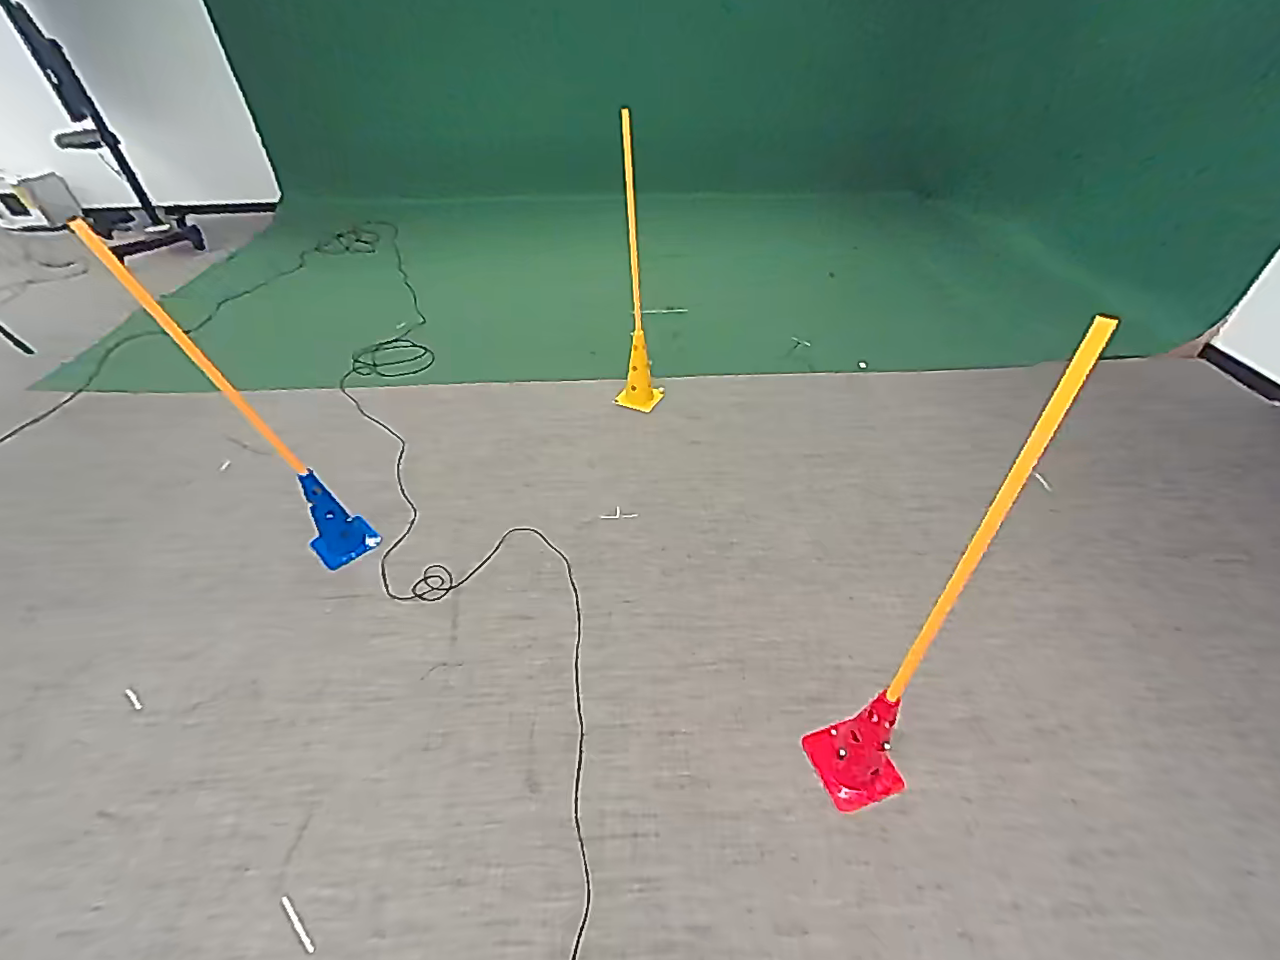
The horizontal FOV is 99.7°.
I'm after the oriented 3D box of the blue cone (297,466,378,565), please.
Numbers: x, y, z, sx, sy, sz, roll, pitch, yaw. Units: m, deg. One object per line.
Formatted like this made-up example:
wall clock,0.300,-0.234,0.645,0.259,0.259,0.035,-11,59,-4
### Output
blue cone,-1.089,0.105,1.883,0.192,0.380,0.193,32,53,30
